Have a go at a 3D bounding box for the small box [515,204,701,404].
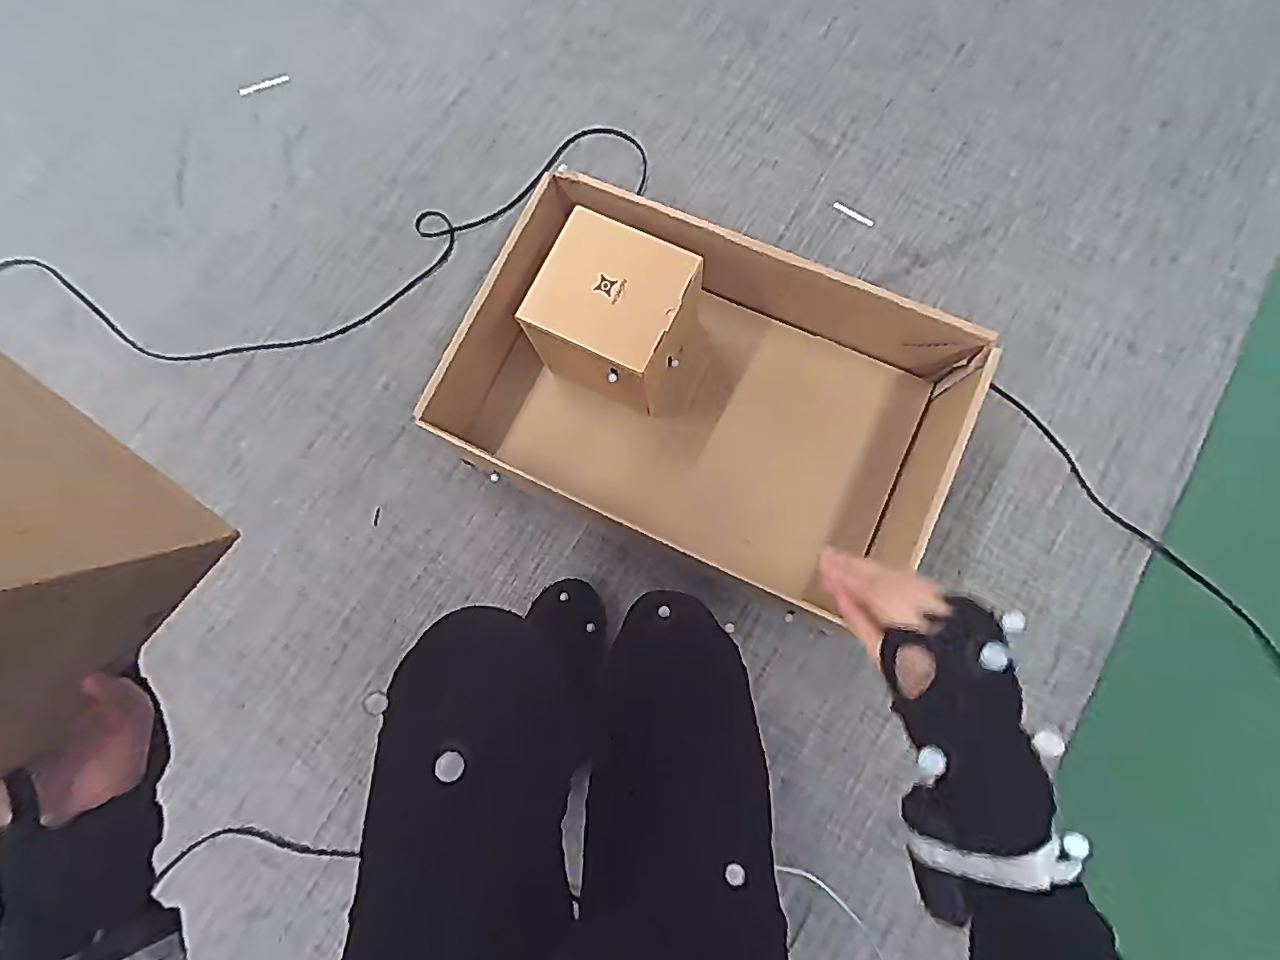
[{"bbox_3d":[-0.034,-0.221,0.725,0.179,0.176,0.168,25,83,6],"label":"small box"}]
